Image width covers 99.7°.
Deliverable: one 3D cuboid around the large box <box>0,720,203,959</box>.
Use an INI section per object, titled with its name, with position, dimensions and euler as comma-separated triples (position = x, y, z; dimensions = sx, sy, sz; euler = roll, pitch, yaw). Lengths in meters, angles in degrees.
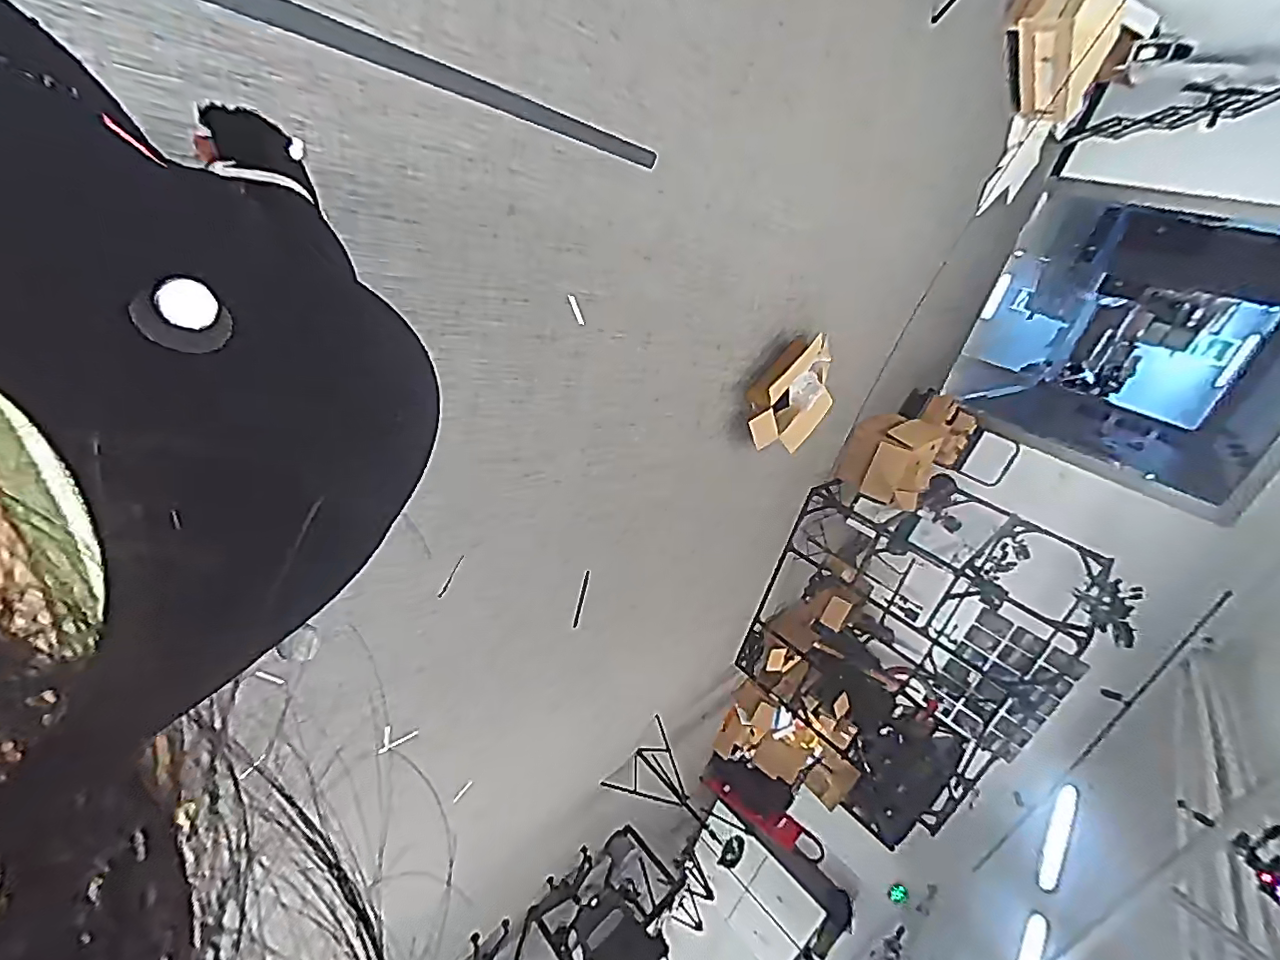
[large box]
position = -1.441, 0.919, 1.420
dimensions = 0.408, 0.320, 0.320
euler = -4, 121, -51
